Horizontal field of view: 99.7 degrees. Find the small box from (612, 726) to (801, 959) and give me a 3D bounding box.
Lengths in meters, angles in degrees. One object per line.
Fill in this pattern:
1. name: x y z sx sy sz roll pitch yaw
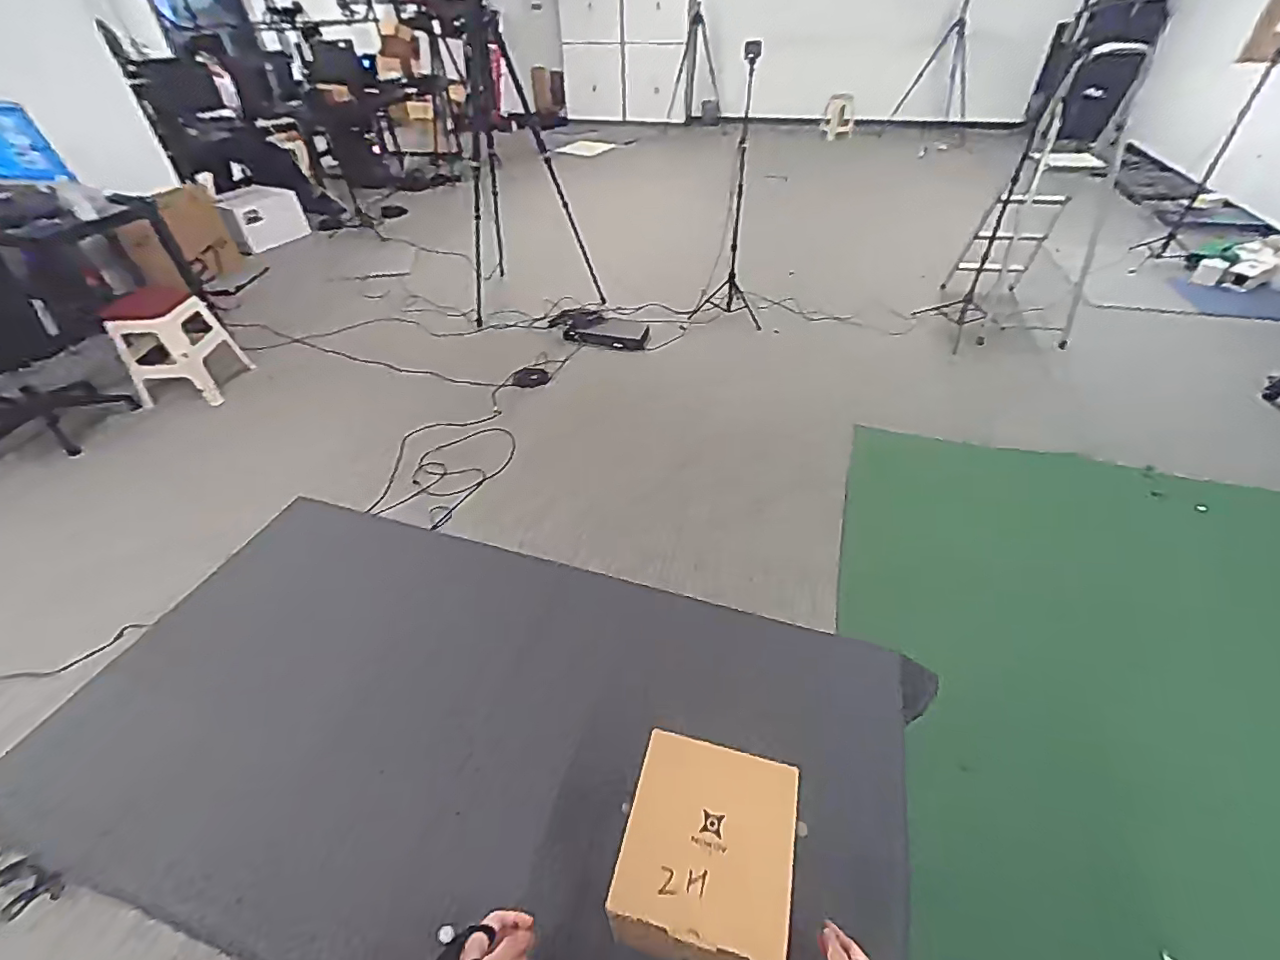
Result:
1. small box: 0.076 0.414 0.600 0.168 0.176 0.179 9 43 14
